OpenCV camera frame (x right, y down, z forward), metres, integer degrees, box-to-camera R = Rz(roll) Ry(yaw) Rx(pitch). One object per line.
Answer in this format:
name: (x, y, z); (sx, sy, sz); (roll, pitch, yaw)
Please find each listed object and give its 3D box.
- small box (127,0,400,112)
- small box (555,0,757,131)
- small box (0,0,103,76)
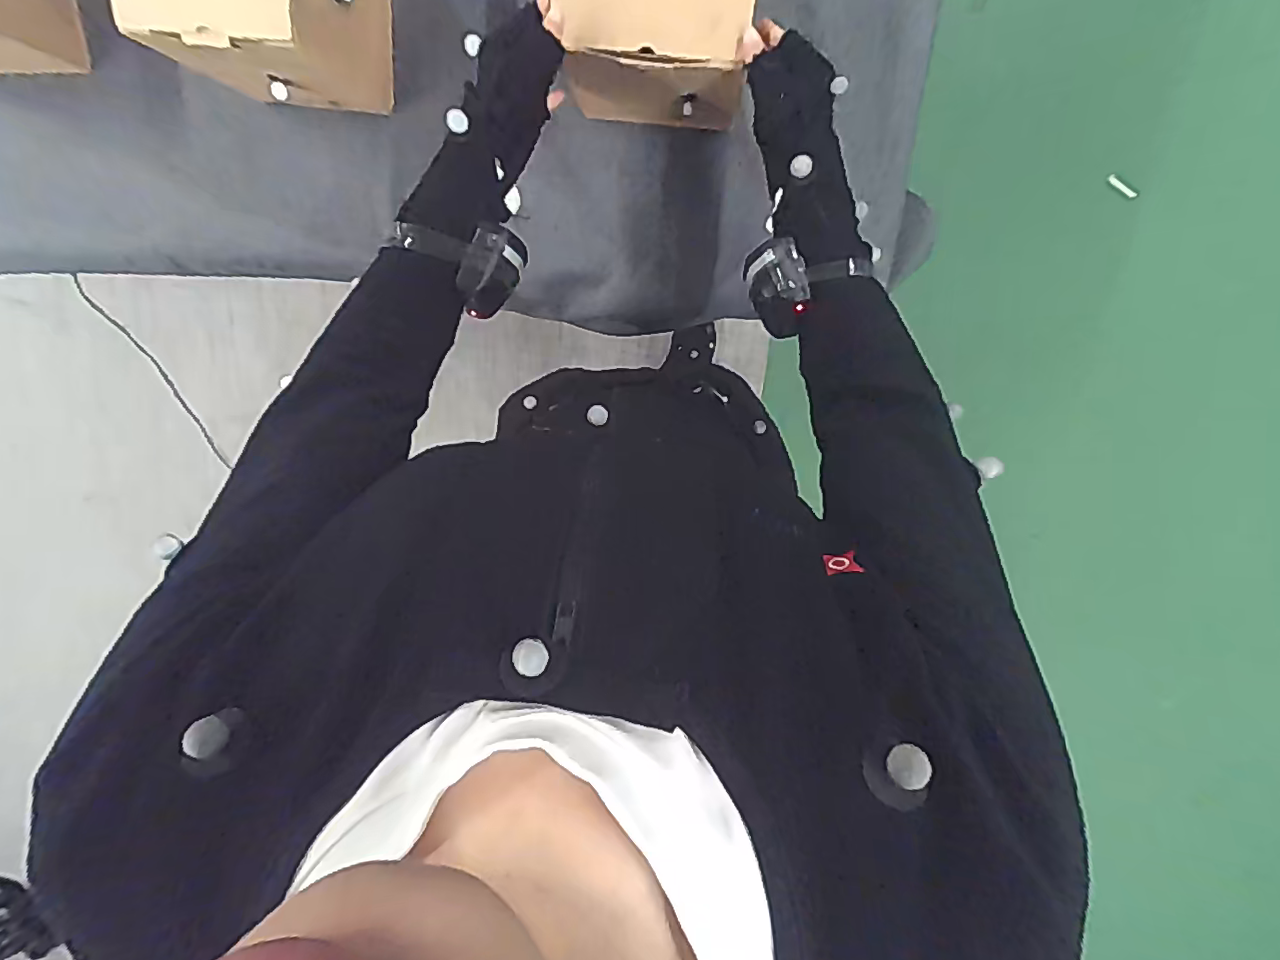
small box: (-0.351, -0.486, 0.524); (0.168, 0.176, 0.179); (8, 108, 3)
small box: (0.025, -0.450, 0.499); (0.168, 0.176, 0.179); (7, 106, 3)
small box: (-0.718, -0.535, 0.544); (0.179, 0.176, 0.168); (3, 107, 4)
